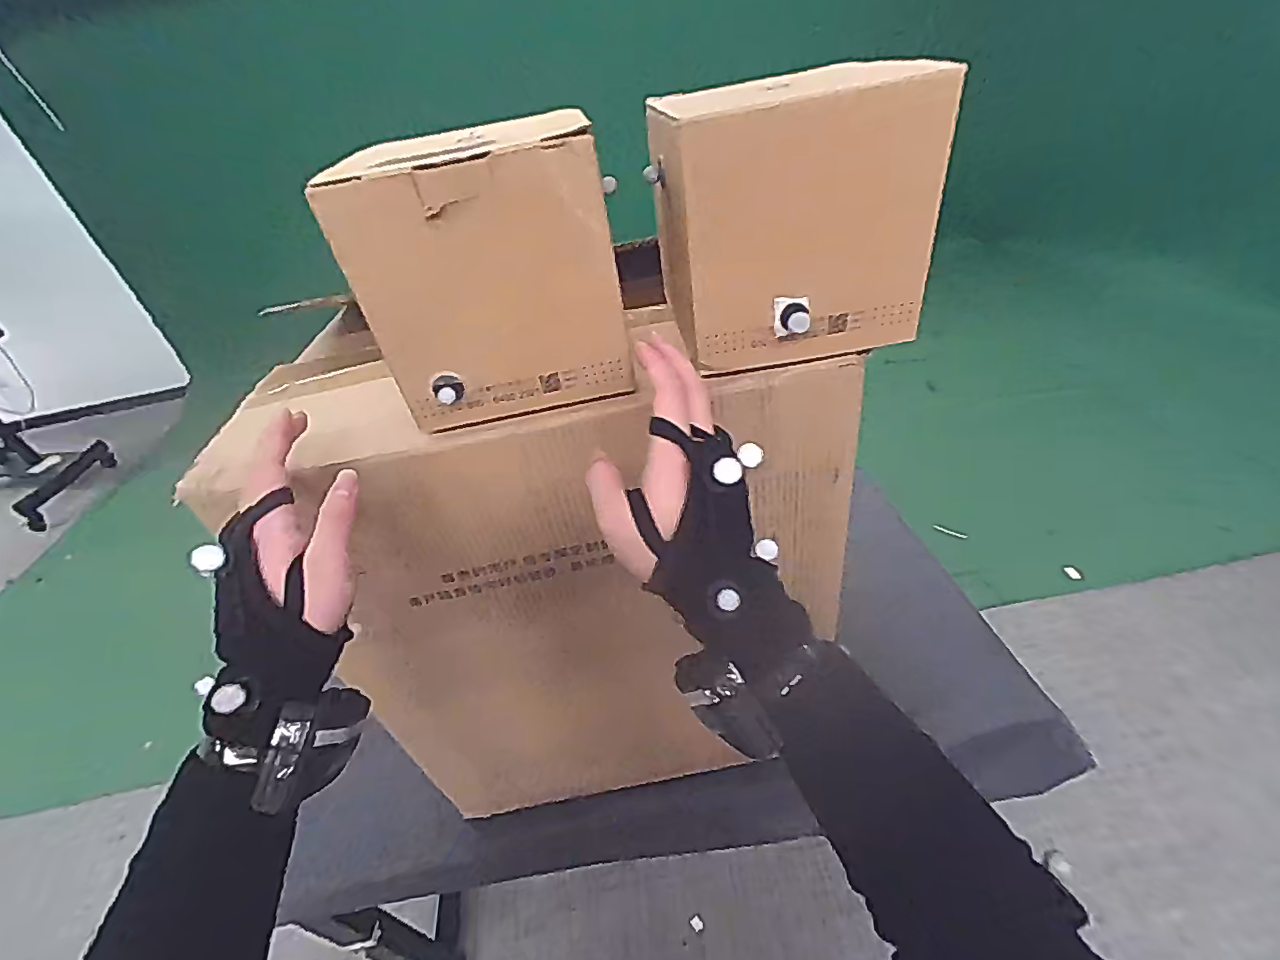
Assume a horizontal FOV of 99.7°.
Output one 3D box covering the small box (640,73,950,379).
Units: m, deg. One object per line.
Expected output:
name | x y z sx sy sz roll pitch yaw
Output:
small box | 0.101 -0.202 0.426 0.168 0.176 0.179 -12 39 -1
